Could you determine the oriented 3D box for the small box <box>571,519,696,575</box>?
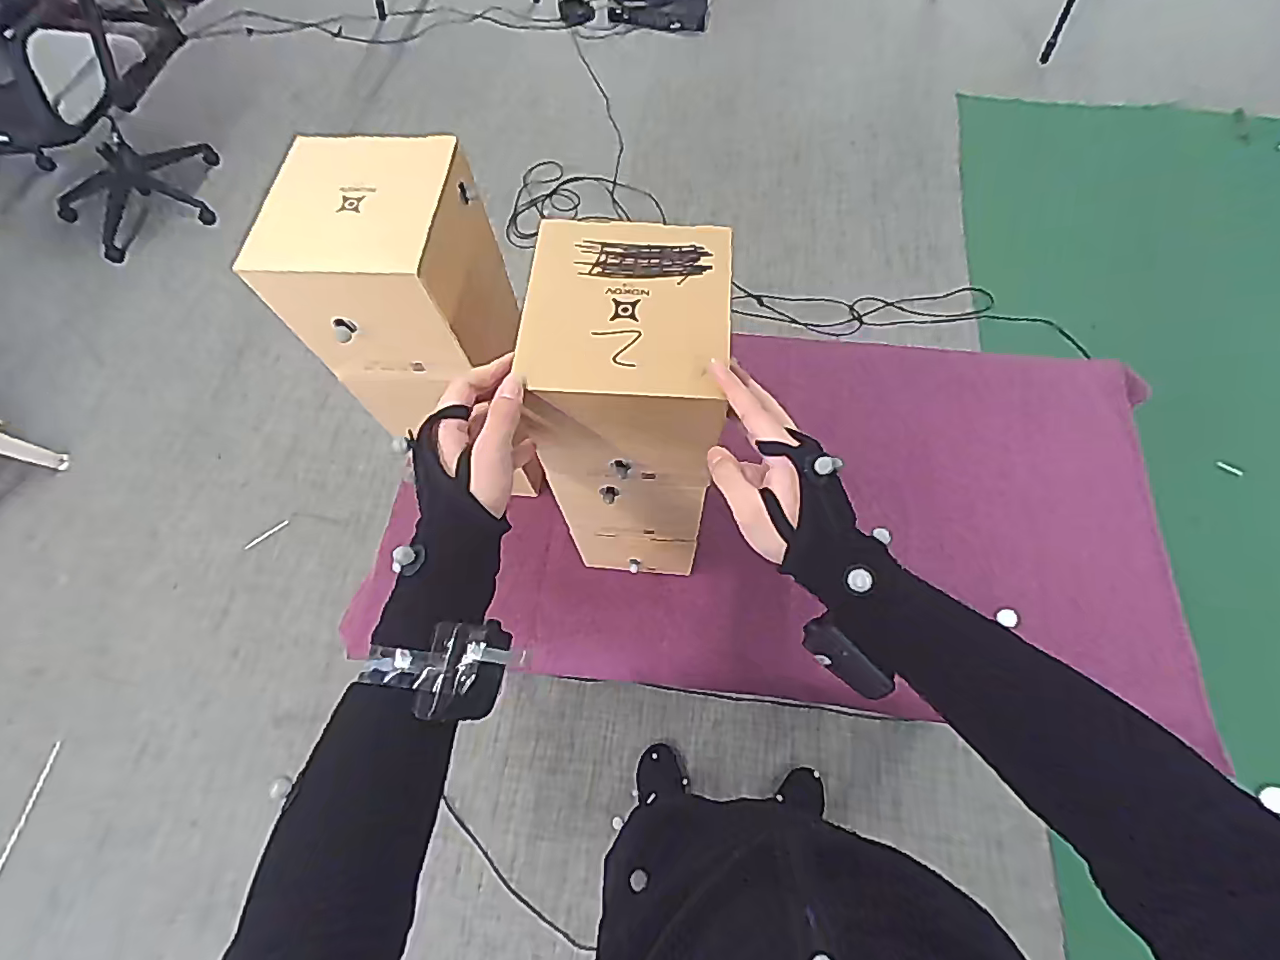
[{"bbox_3d":[0.001,0.029,0.803,0.168,0.176,0.179,5,67,5],"label":"small box"}]

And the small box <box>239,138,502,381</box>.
[{"bbox_3d":[-0.257,-0.220,0.567,0.168,0.176,0.179,2,66,4],"label":"small box"}]

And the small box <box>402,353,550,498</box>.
[{"bbox_3d":[-0.246,-0.087,0.864,0.168,0.176,0.179,4,67,4],"label":"small box"}]

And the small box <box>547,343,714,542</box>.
[{"bbox_3d":[-0.004,-0.040,0.655,0.168,0.176,0.179,4,65,5],"label":"small box"}]

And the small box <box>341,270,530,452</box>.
[{"bbox_3d":[-0.250,-0.155,0.715,0.168,0.176,0.179,3,67,4],"label":"small box"}]
